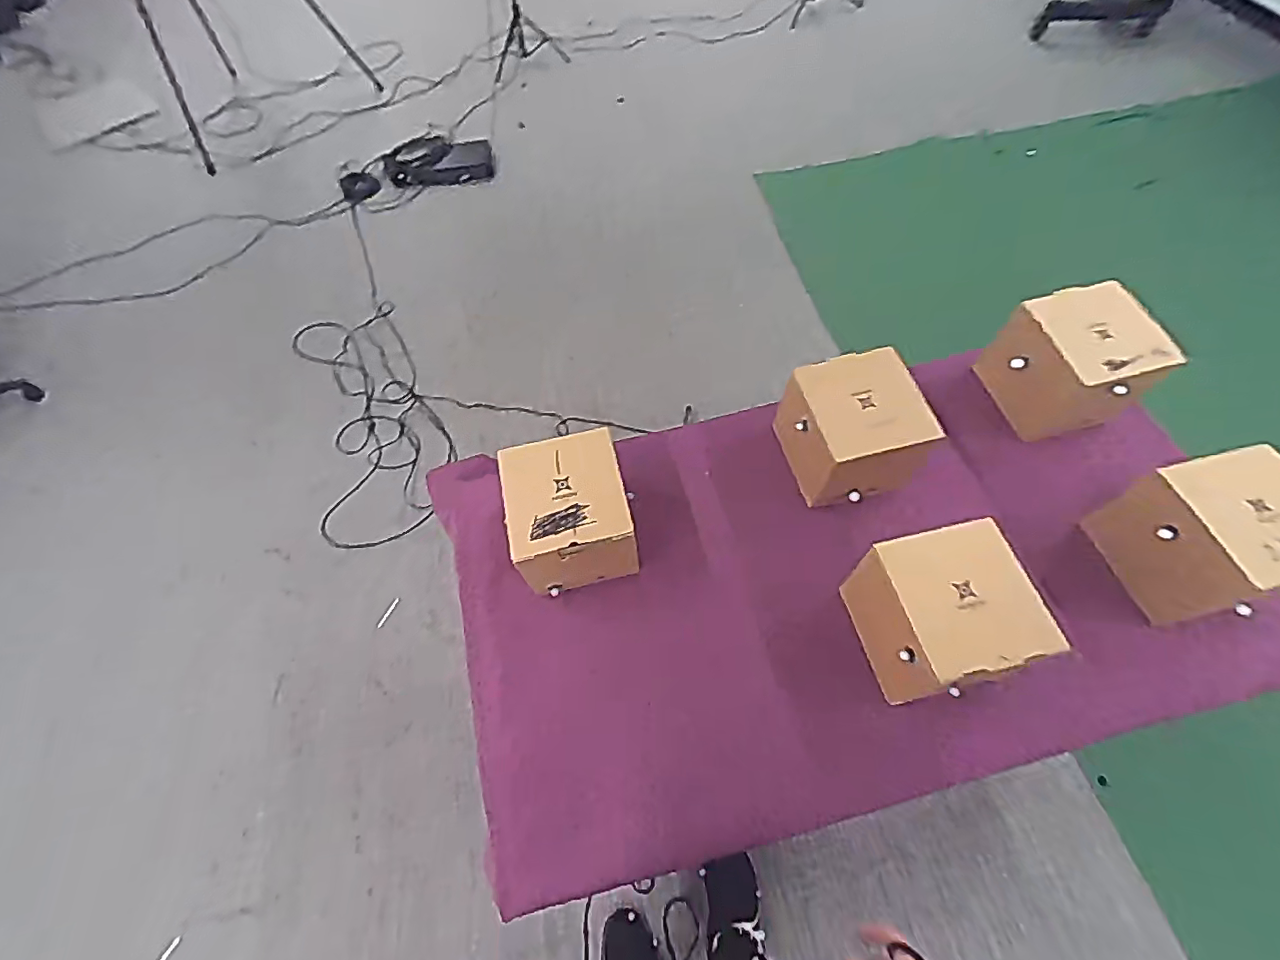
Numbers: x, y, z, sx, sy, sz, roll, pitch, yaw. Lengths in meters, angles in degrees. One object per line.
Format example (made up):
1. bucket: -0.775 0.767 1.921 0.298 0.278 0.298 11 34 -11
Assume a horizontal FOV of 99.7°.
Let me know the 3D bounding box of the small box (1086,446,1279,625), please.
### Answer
1. small box: 0.790 0.082 0.754 0.168 0.176 0.179 -13 60 -3

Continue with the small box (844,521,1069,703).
1. small box: 0.399 0.181 0.724 0.168 0.176 0.179 -12 60 -4

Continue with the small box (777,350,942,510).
1. small box: 0.335 -0.075 0.869 0.168 0.176 0.179 -13 63 -4

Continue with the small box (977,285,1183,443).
1. small box: 0.714 -0.190 0.908 0.168 0.176 0.179 -14 63 -3

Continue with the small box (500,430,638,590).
1. small box: -0.101 0.055 0.816 0.168 0.176 0.179 -13 62 -5
